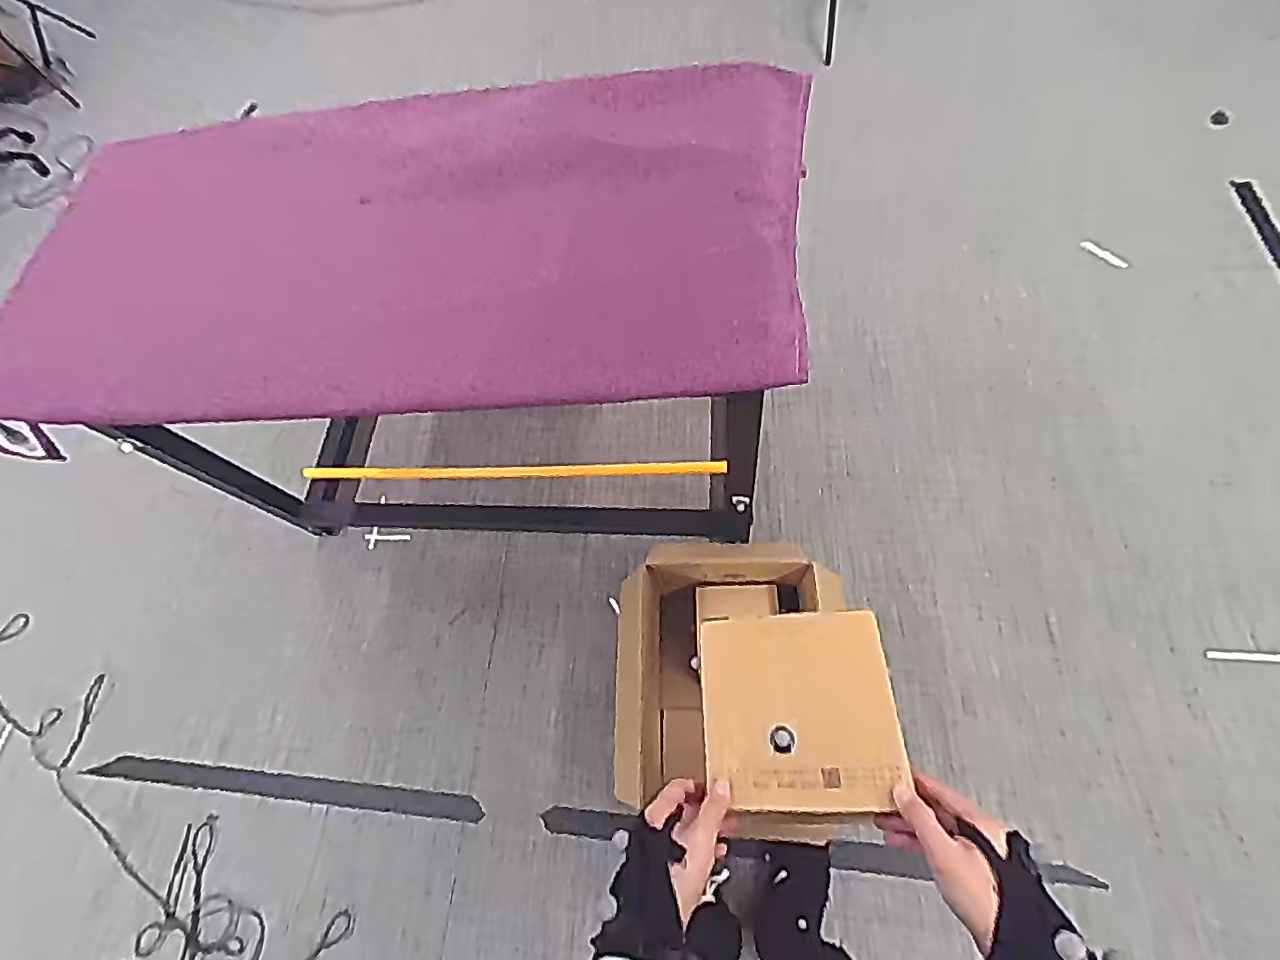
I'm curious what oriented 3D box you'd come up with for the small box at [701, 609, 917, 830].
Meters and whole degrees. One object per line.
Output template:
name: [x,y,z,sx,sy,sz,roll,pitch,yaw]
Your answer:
small box: [0.157,0.243,0.536,0.168,0.179,0.176,-8,55,13]
